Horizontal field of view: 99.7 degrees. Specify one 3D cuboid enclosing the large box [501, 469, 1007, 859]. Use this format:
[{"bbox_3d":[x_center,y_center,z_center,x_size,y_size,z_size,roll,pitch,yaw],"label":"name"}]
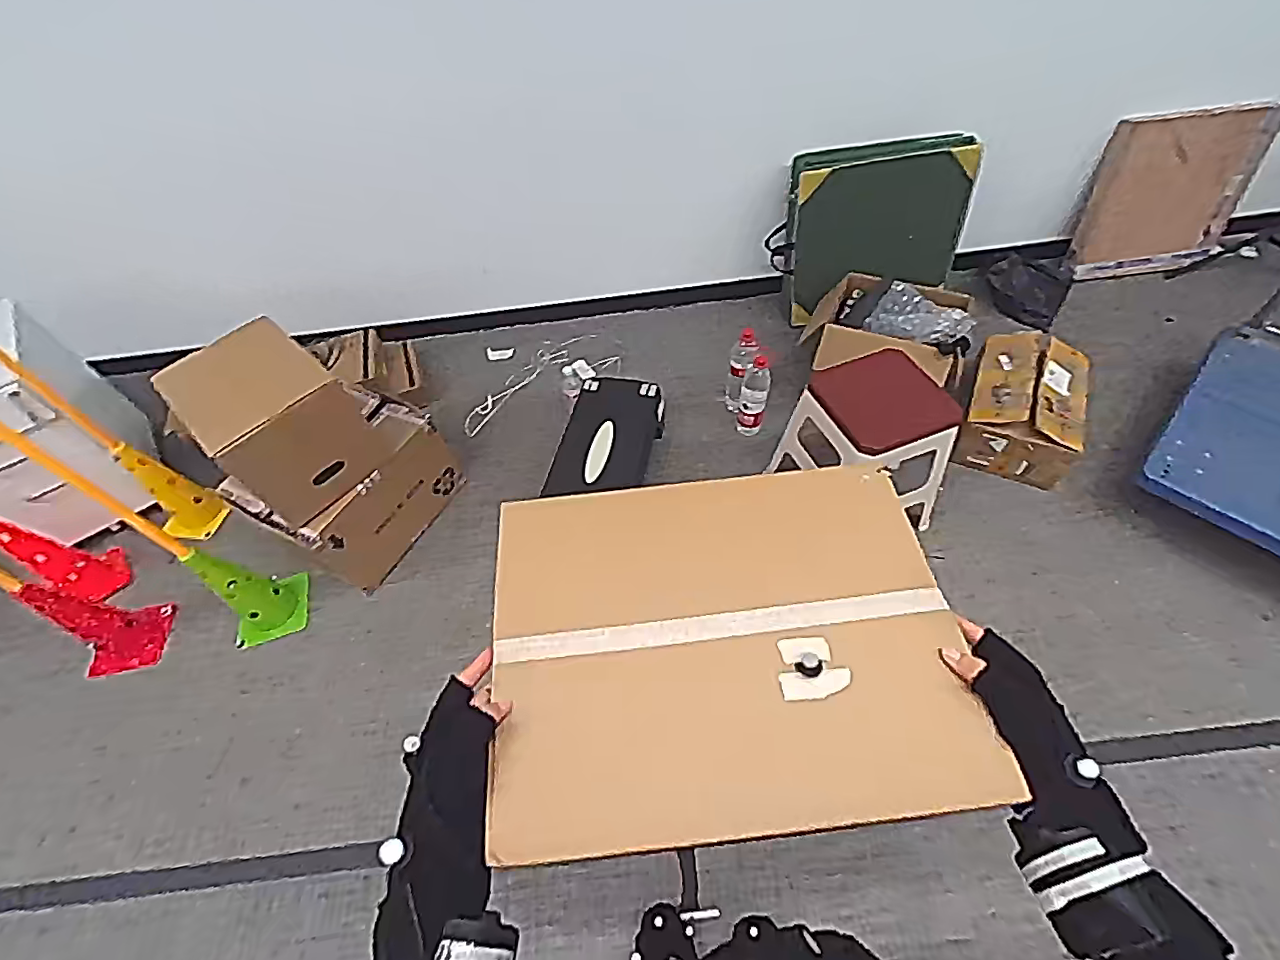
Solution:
[{"bbox_3d":[0.079,0.220,0.617,0.408,0.320,0.320,-6,55,-1],"label":"large box"}]
